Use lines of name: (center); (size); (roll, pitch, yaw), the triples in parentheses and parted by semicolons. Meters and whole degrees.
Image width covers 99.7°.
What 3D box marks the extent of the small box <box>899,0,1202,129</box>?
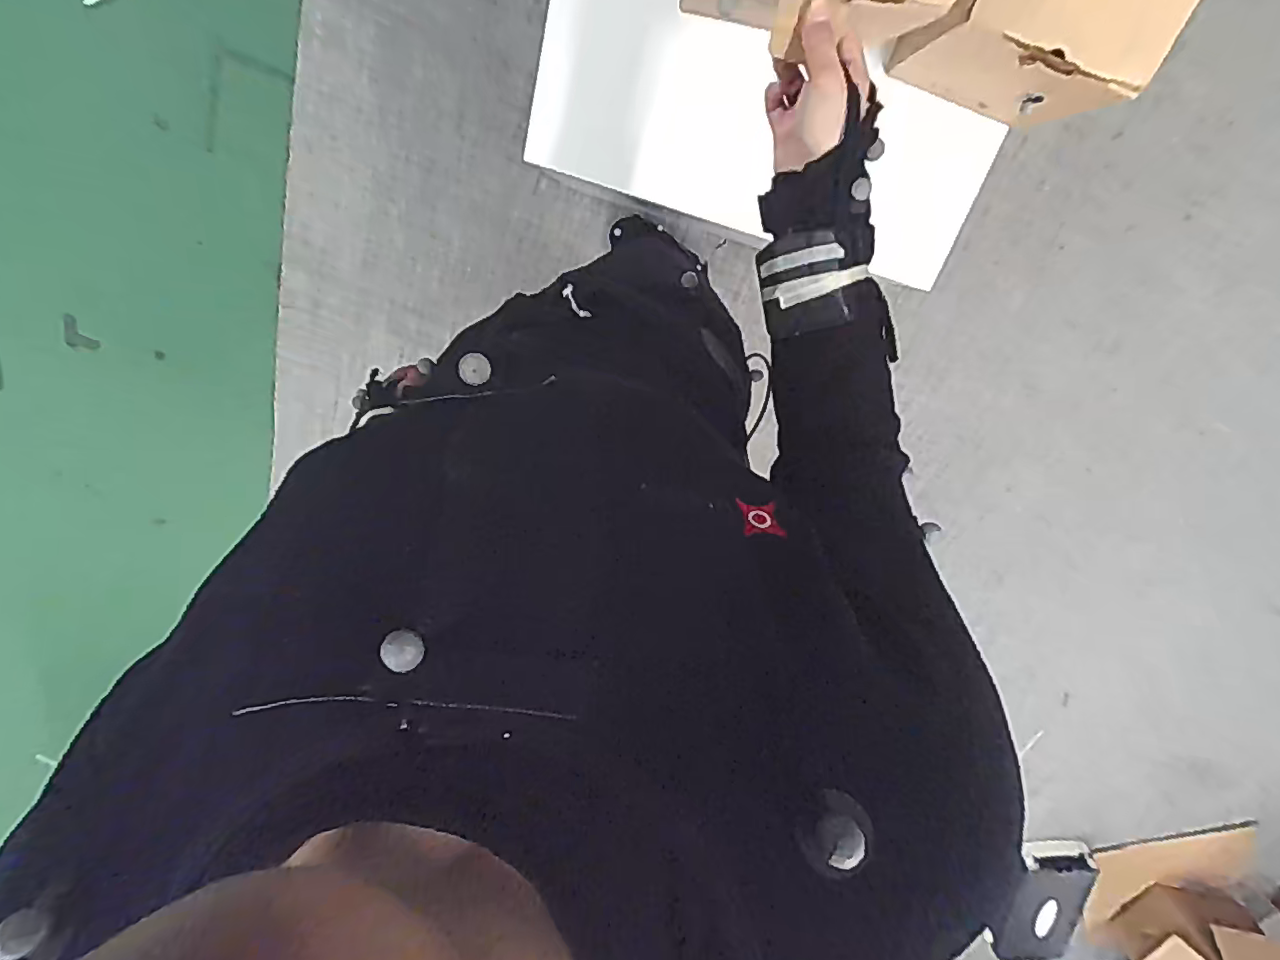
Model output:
small box: (0.360, -0.438, 0.473); (0.168, 0.176, 0.179); (16, 113, -7)
